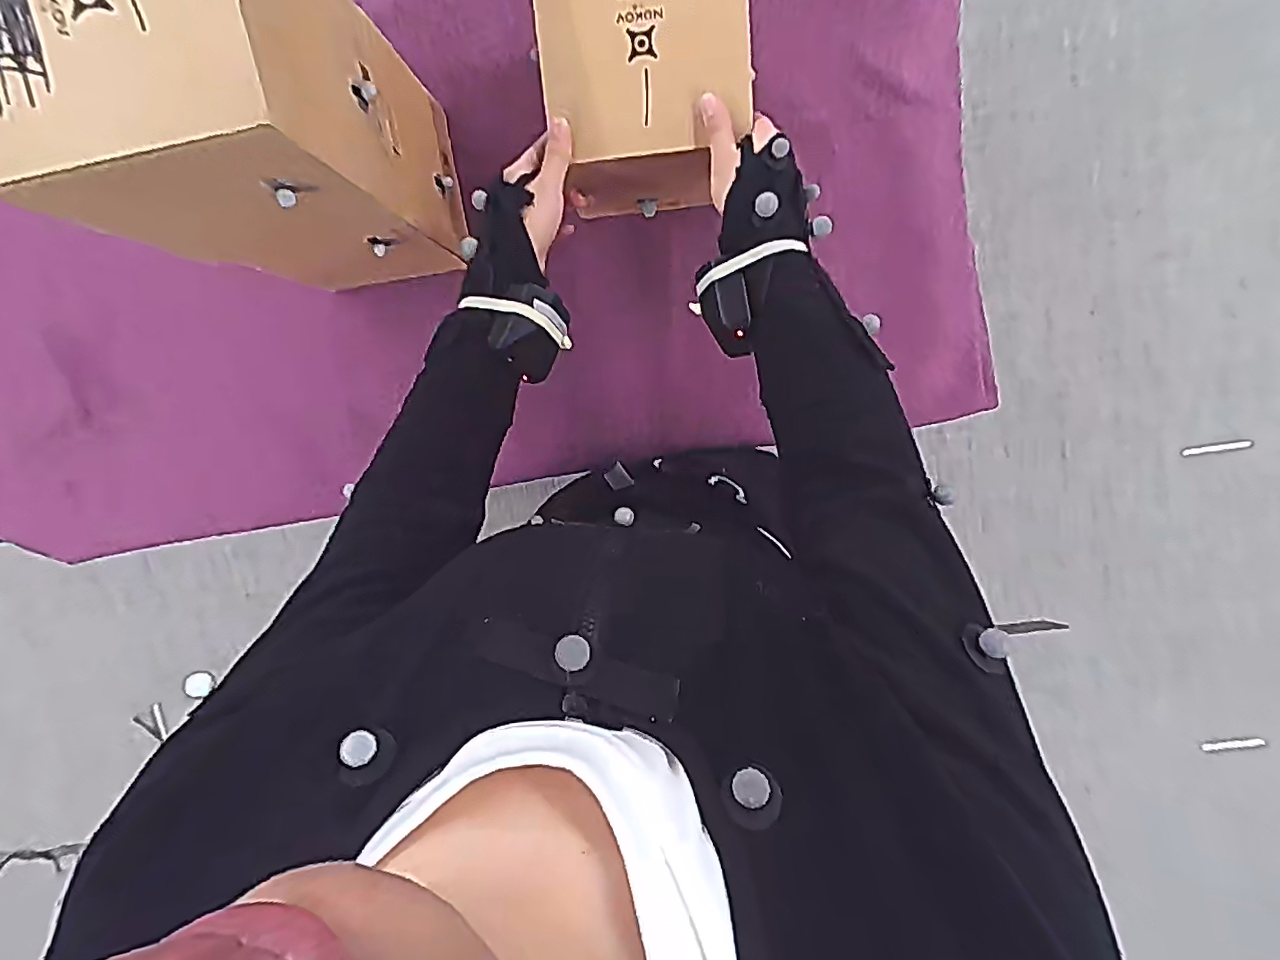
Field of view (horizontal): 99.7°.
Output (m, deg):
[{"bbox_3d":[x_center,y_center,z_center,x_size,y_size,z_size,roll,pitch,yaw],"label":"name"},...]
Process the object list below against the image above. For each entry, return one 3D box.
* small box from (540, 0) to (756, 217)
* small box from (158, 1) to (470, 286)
[{"bbox_3d":[0.007,-0.361,0.492,0.168,0.176,0.179,-4,102,3],"label":"small box"},{"bbox_3d":[-0.288,-0.296,0.519,0.179,0.176,0.168,-9,98,3],"label":"small box"}]
